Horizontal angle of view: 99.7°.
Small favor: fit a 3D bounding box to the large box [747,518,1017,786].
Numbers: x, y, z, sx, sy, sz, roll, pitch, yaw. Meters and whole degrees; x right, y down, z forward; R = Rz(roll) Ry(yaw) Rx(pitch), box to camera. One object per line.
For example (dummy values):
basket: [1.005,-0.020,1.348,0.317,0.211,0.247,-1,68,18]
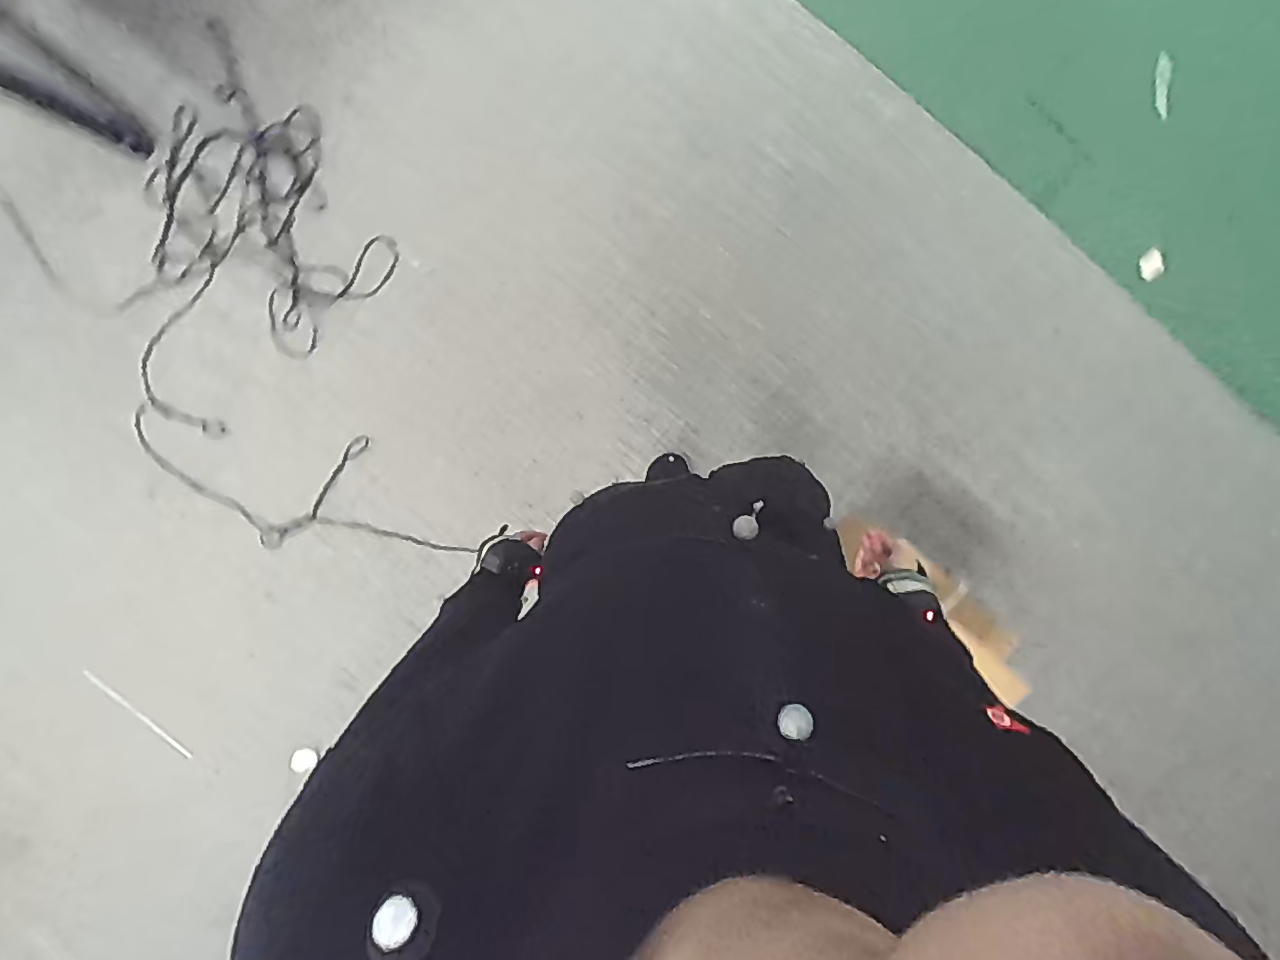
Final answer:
large box: [0.494,0.350,1.200,0.320,0.320,0.408,40,99,0]
